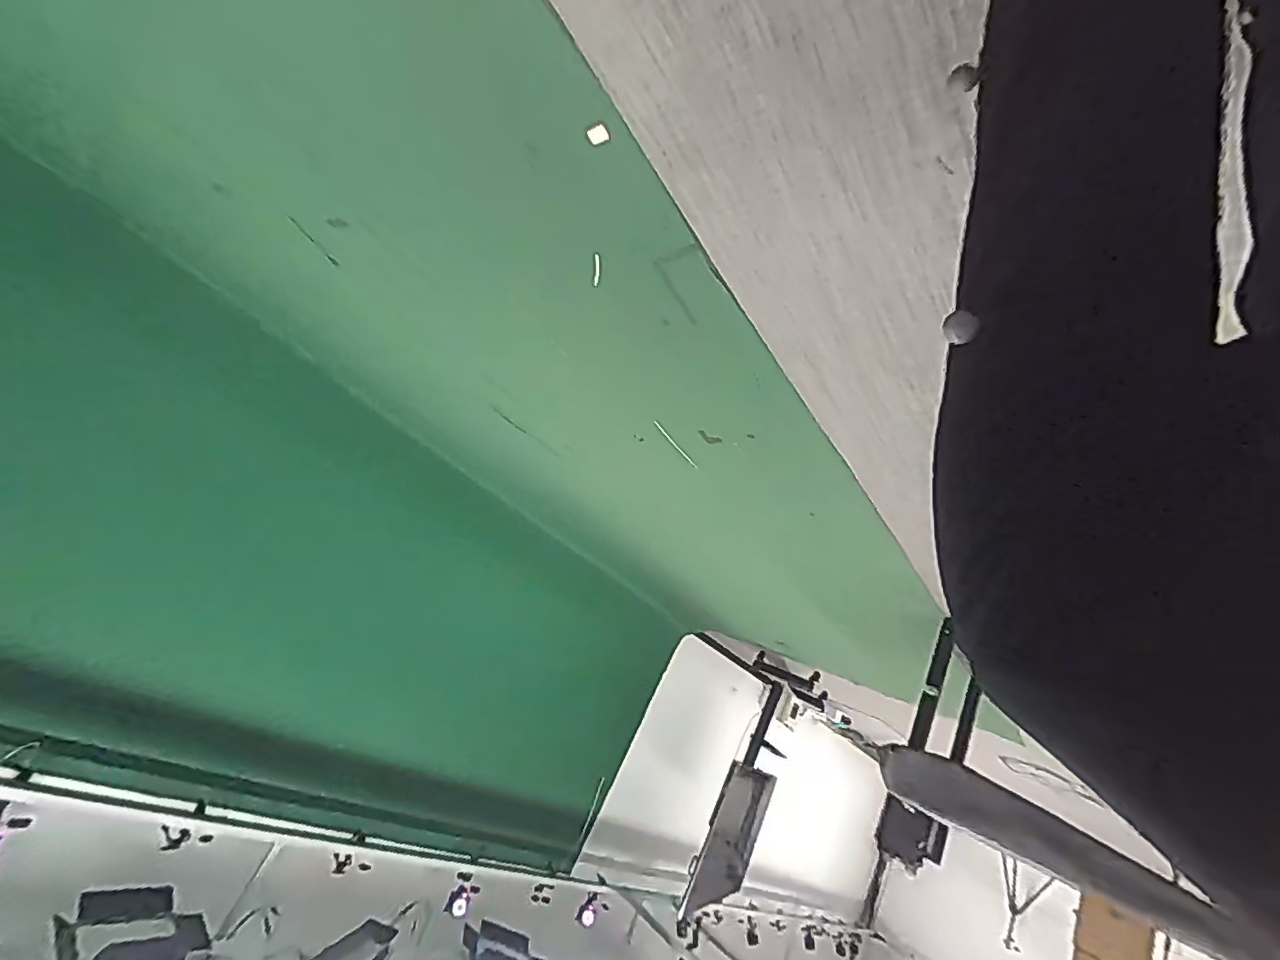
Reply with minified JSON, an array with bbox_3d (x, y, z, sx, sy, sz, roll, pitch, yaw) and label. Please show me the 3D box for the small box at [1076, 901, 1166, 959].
[{"bbox_3d":[1.443,1.402,1.622,0.179,0.176,0.168,8,153,47],"label":"small box"}]
